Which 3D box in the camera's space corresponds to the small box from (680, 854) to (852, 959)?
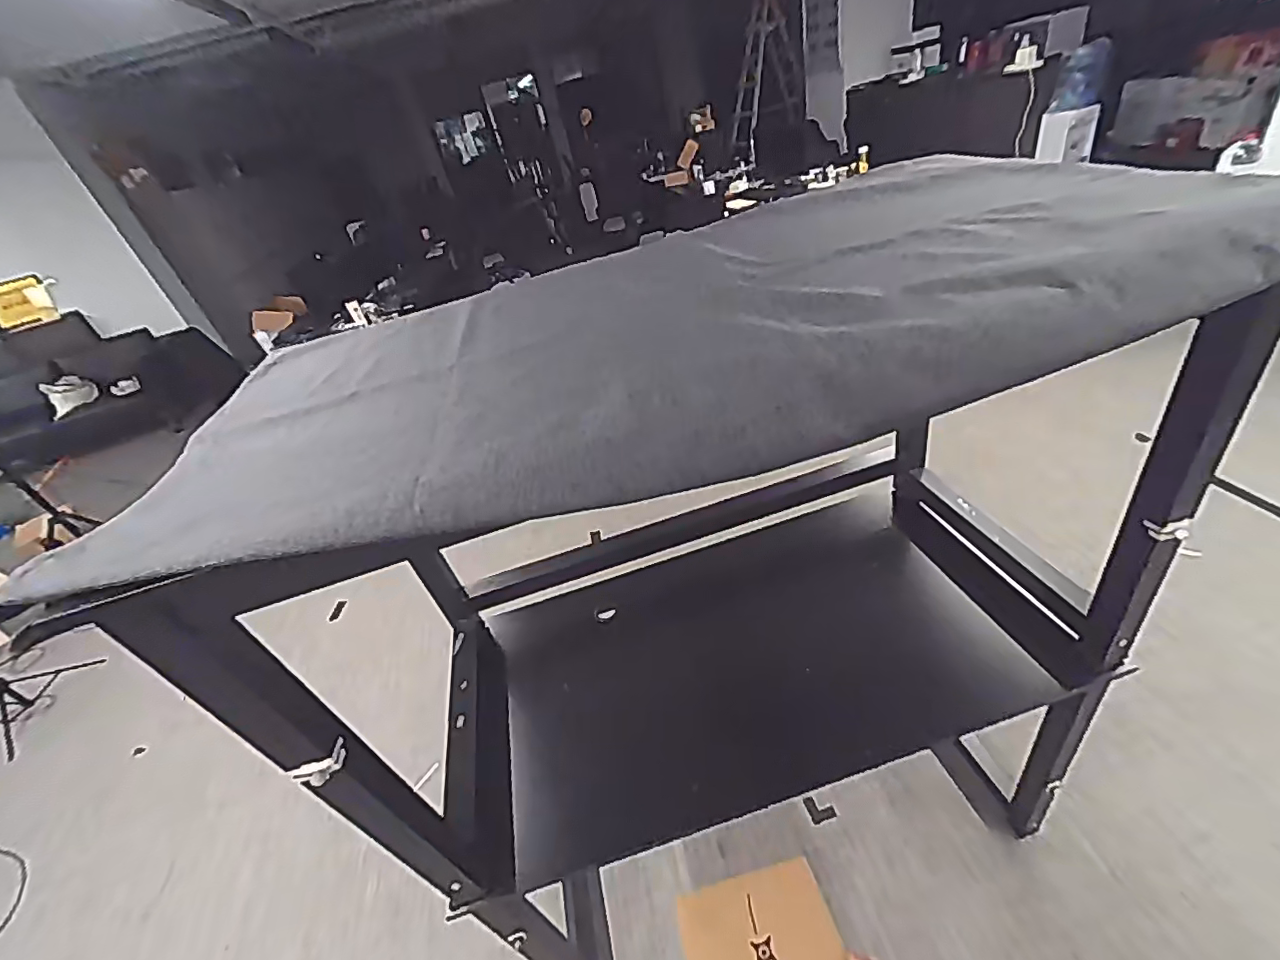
[{"bbox_3d":[0.156,0.568,0.591,0.168,0.176,0.179,-17,23,-1],"label":"small box"}]
